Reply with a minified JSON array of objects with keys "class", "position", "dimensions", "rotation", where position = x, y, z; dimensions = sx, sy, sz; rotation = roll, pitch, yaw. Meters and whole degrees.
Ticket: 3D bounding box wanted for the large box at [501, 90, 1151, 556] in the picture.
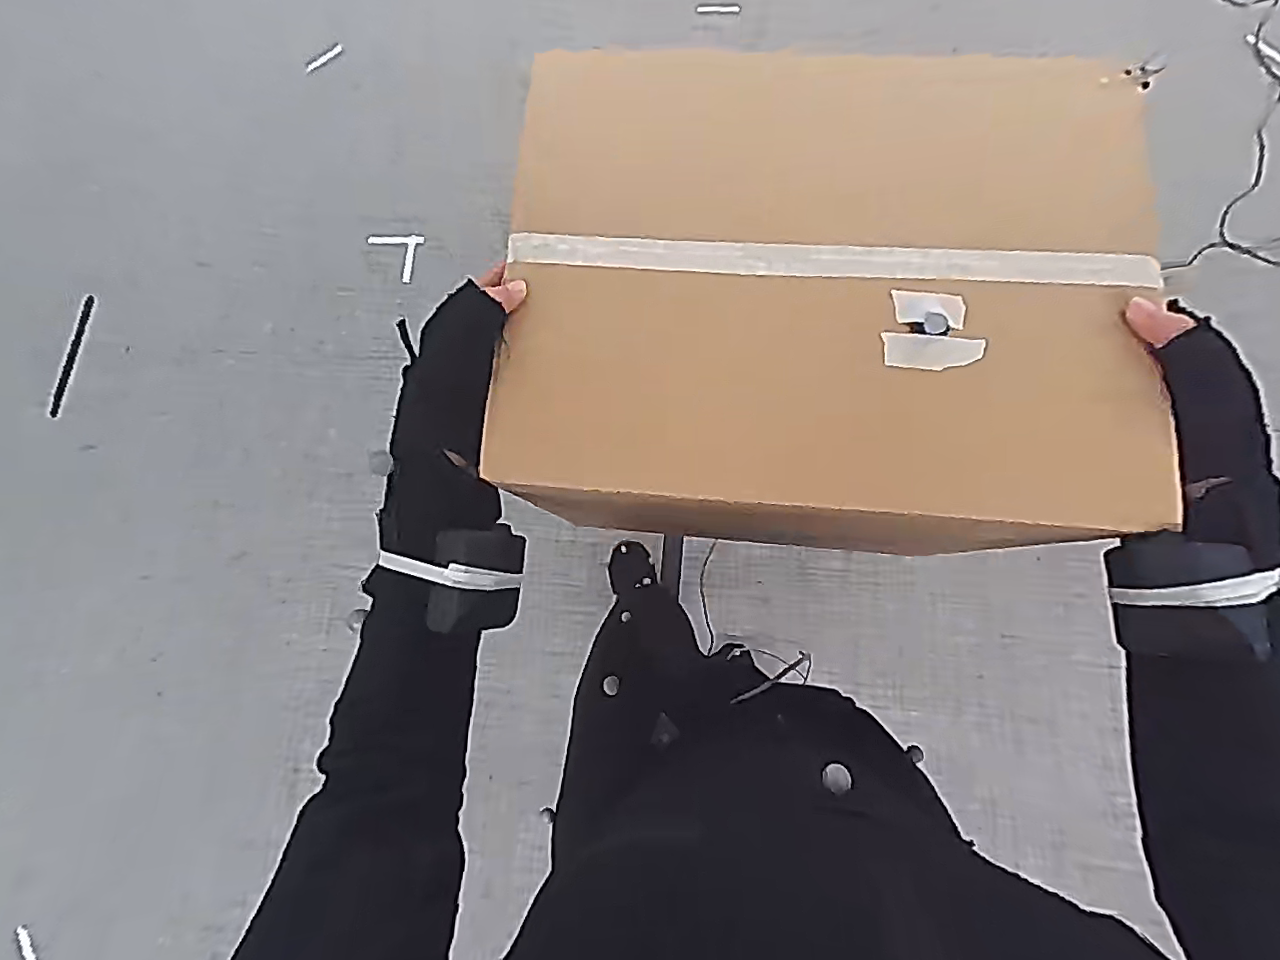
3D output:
[{"class":"large box","position":[0.123,-0.101,0.505],"dimensions":[0.408,0.320,0.320],"rotation":[4,81,4]}]
